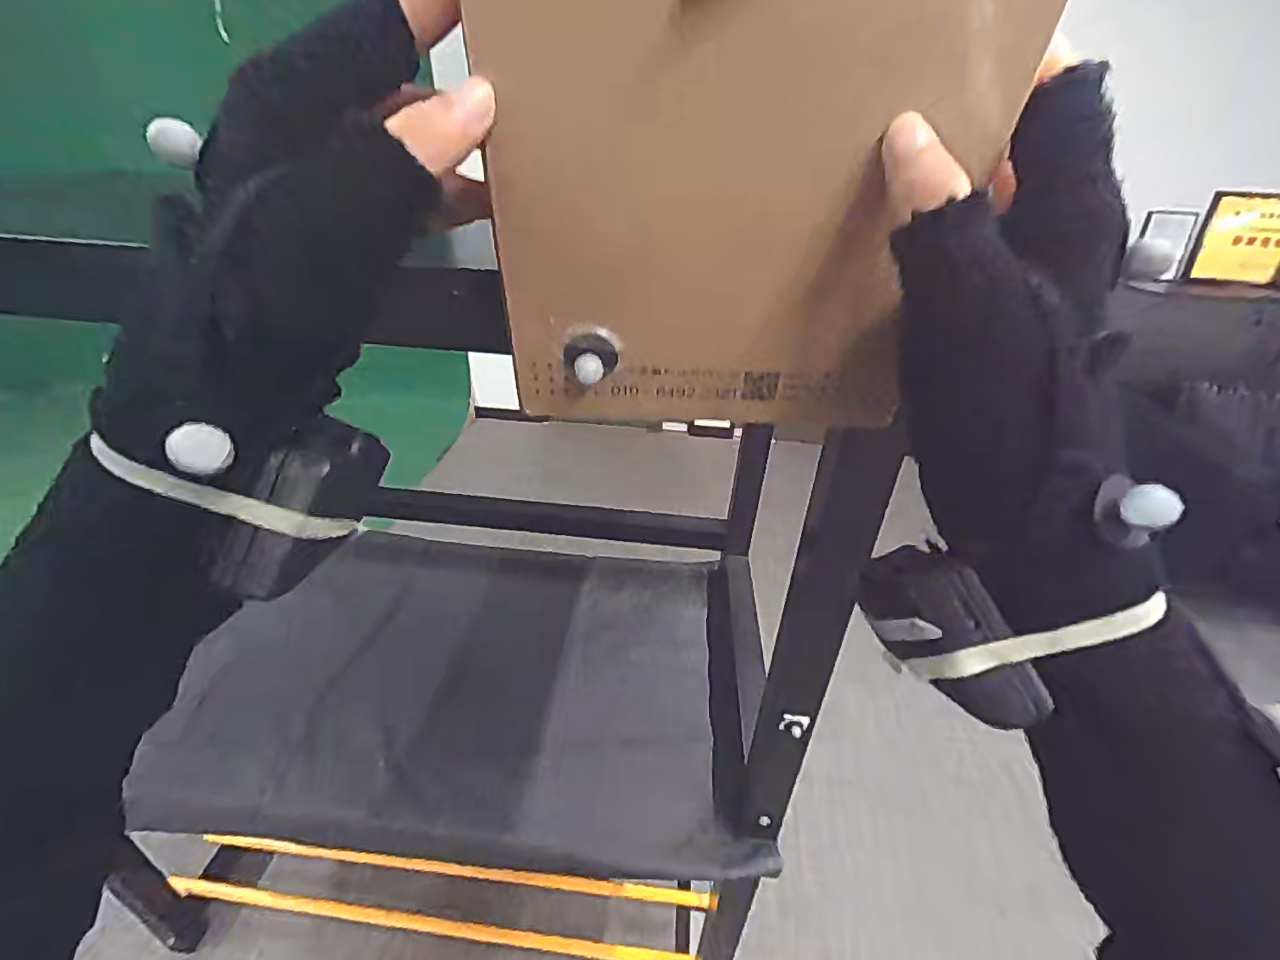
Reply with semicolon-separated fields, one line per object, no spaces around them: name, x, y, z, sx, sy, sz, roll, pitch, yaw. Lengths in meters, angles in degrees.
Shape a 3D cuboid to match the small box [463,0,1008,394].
small box;0.032;-0.154;0.253;0.168;0.176;0.179;2;42;0
